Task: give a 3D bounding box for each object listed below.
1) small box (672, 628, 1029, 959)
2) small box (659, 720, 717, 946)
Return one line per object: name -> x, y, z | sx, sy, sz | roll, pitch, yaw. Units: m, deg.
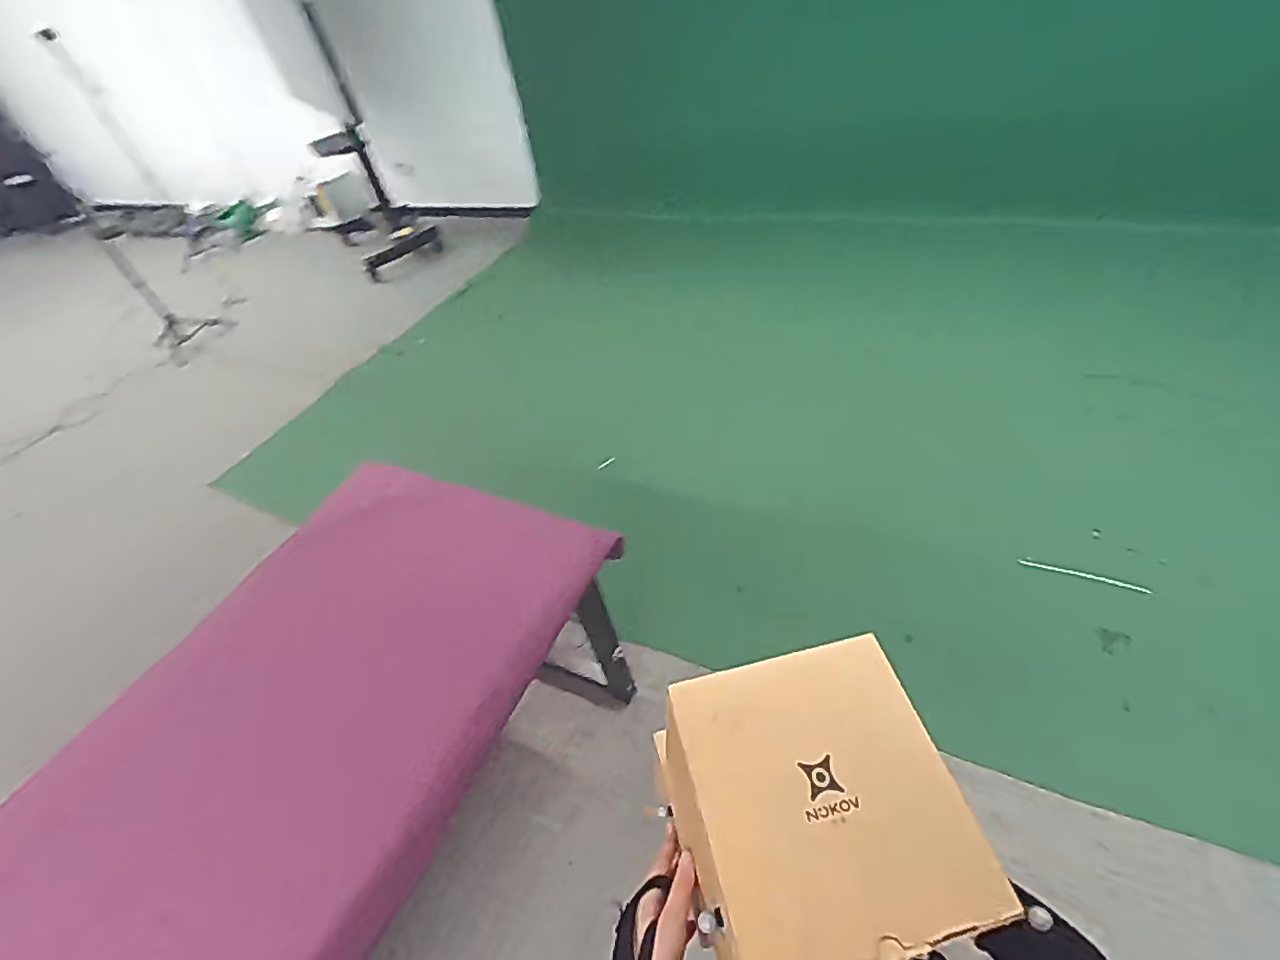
small box -> 0.121, 0.241, 0.402 | 0.168, 0.176, 0.179 | -11, 49, -6
small box -> 0.121, 0.333, 0.537 | 0.179, 0.176, 0.168 | -11, 47, -8
